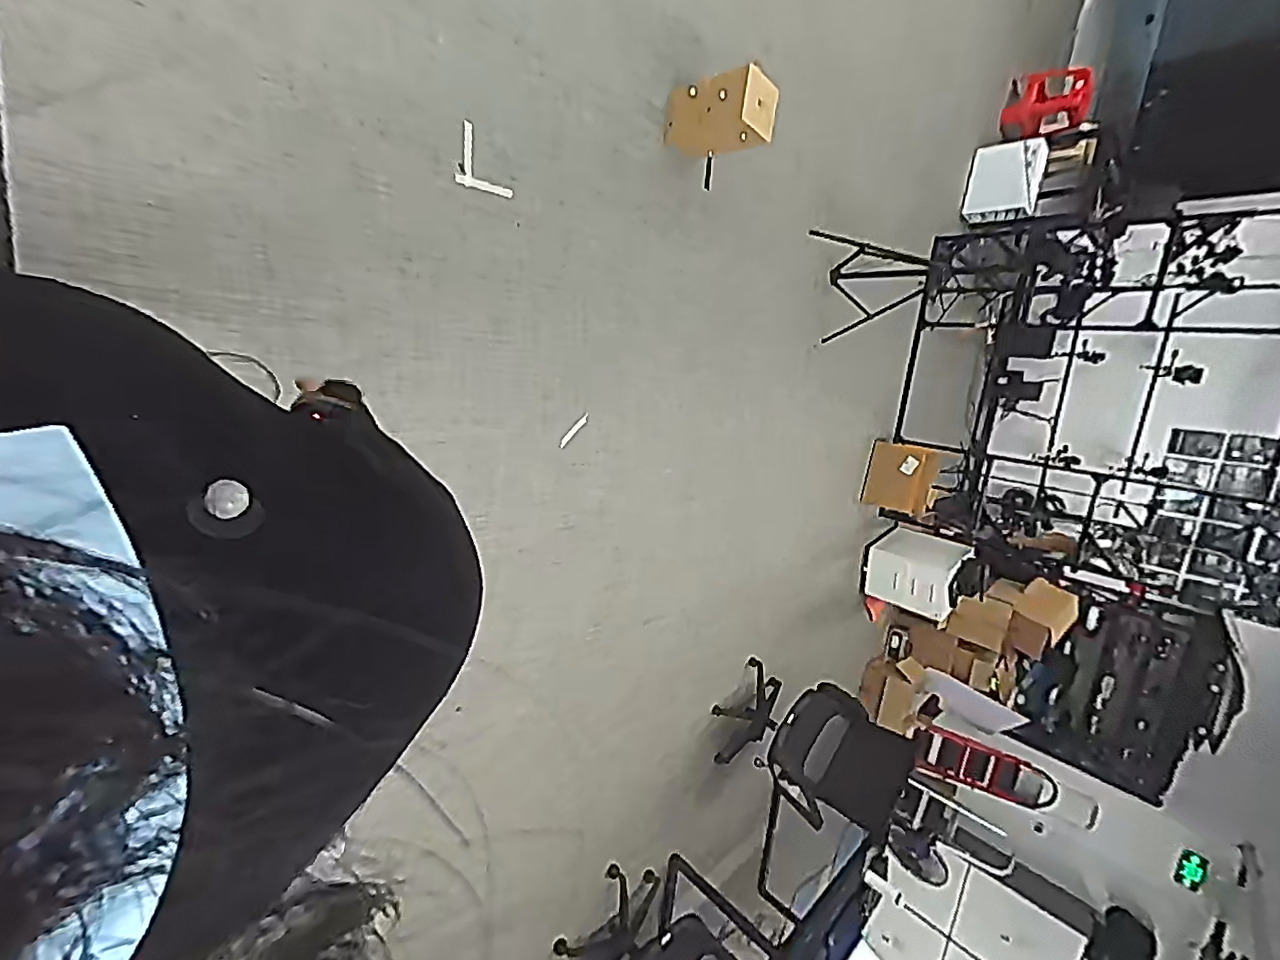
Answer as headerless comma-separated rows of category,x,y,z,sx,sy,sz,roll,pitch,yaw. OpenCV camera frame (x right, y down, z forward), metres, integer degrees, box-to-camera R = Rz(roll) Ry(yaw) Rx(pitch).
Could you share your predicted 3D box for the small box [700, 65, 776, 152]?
small box,0.322,-1.221,1.795,0.179,0.176,0.168,1,103,-47
